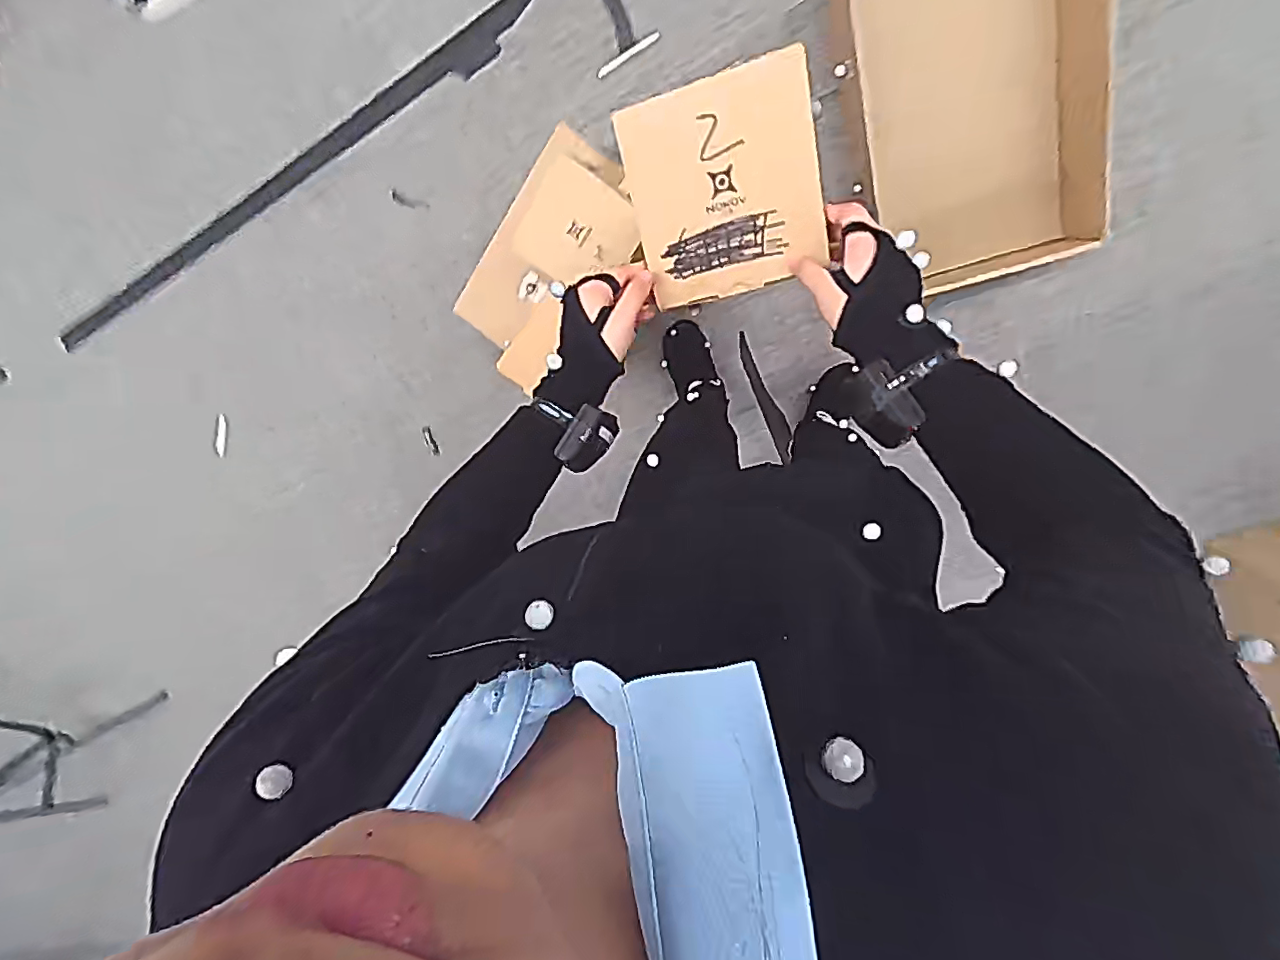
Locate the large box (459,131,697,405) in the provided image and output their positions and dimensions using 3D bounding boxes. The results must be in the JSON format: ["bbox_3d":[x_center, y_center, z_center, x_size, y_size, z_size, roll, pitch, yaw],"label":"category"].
[{"bbox_3d":[-0.115,-0.444,1.170,0.320,0.320,0.408,36,113,-8],"label":"large box"}]

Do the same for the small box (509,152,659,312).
[{"bbox_3d":[-0.085,-0.410,0.912,0.179,0.176,0.168,35,114,-9],"label":"small box"}]
